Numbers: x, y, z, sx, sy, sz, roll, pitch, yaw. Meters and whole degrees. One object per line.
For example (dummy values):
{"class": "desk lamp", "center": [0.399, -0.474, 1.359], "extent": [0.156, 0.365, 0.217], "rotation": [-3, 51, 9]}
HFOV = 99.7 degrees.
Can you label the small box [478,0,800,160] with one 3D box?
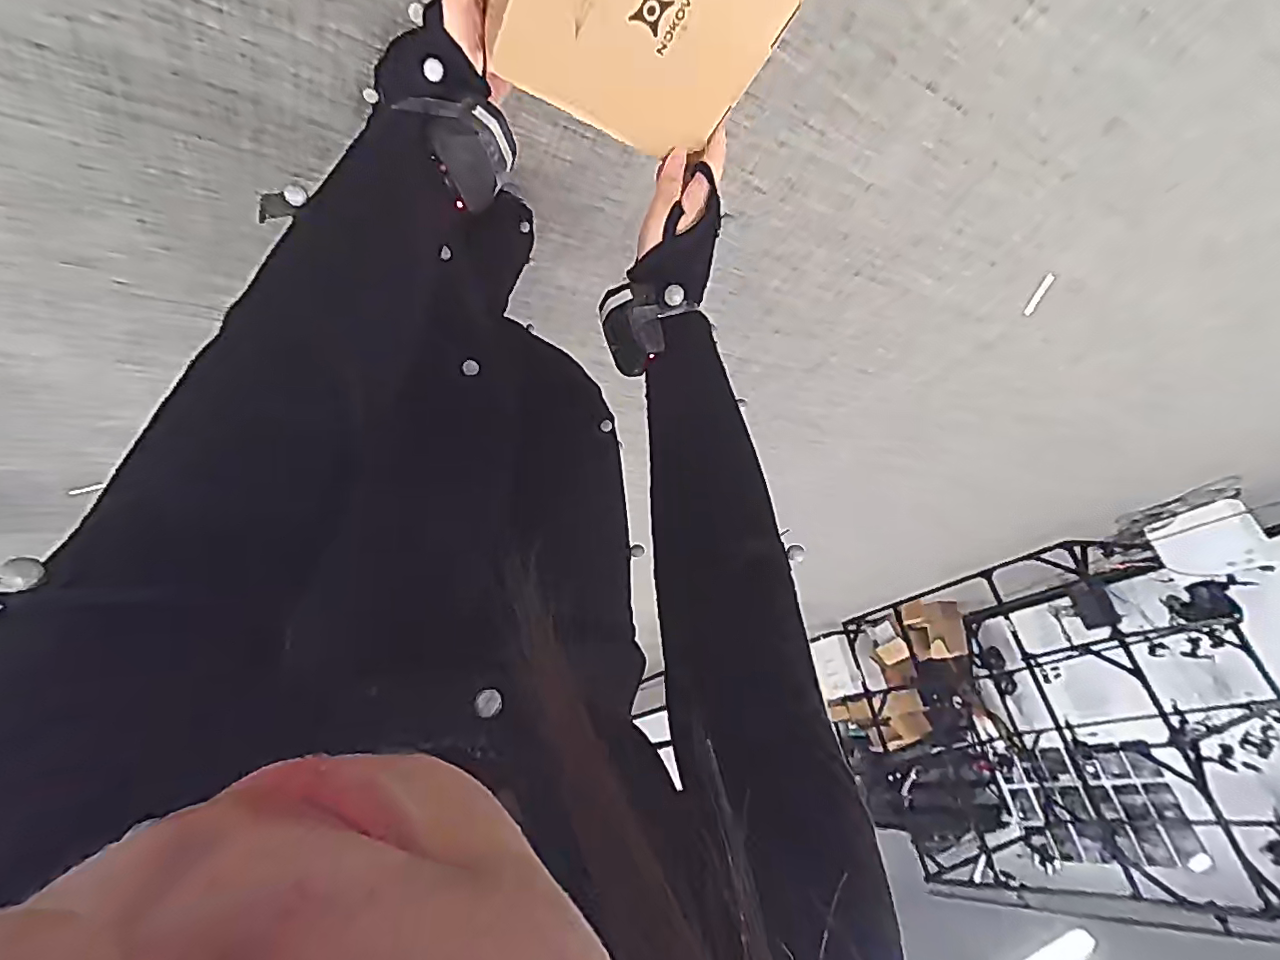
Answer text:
{"class": "small box", "center": [-0.002, -0.380, 0.376], "extent": [0.179, 0.176, 0.168], "rotation": [8, 150, -33]}
